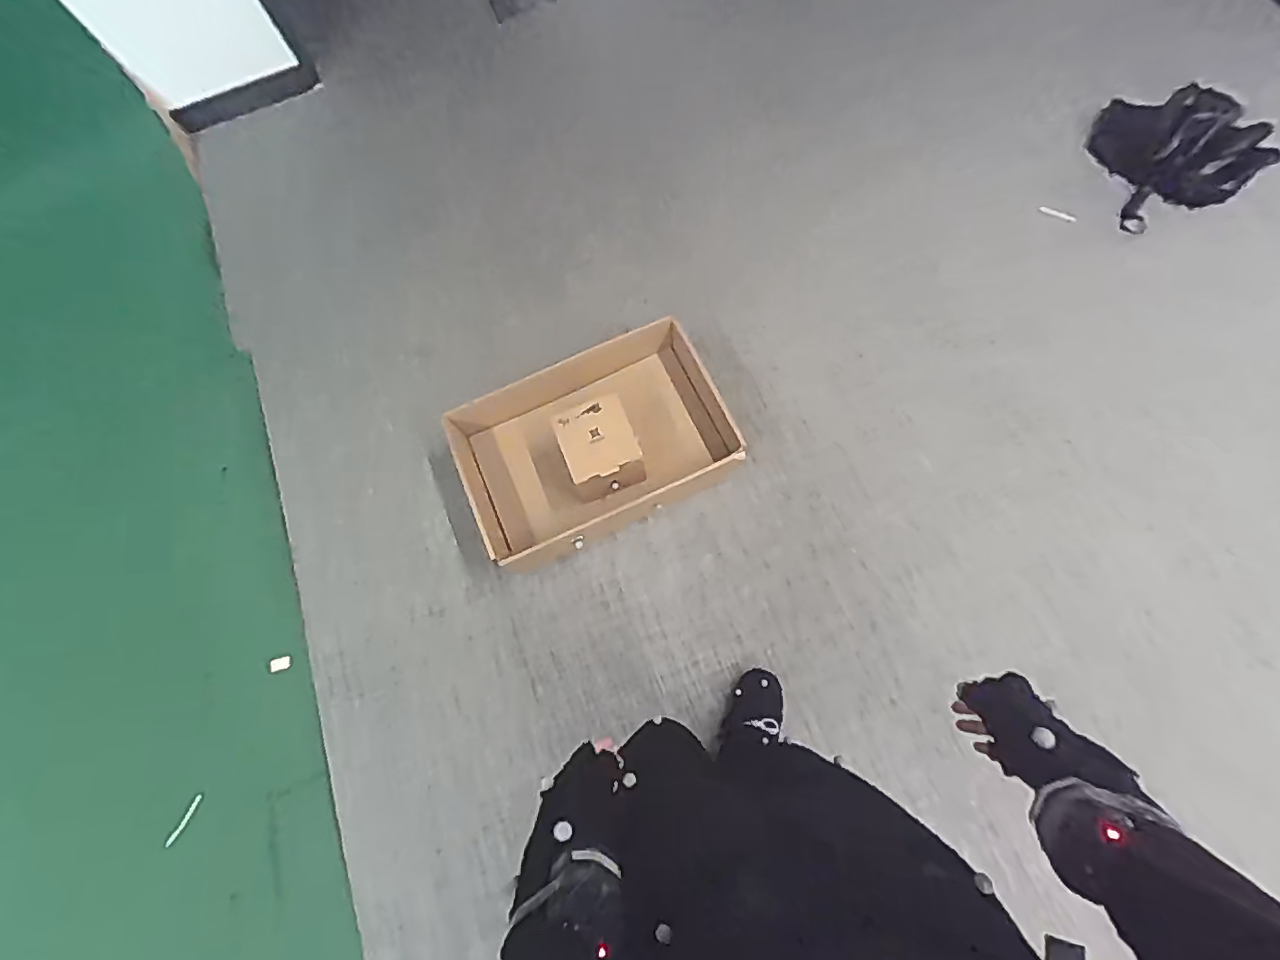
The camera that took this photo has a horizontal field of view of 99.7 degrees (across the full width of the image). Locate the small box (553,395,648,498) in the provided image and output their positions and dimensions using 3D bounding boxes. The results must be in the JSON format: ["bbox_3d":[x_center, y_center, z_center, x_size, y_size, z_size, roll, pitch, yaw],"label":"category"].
[{"bbox_3d":[-0.087,-0.069,1.291,0.168,0.176,0.179,-22,74,-2],"label":"small box"}]
